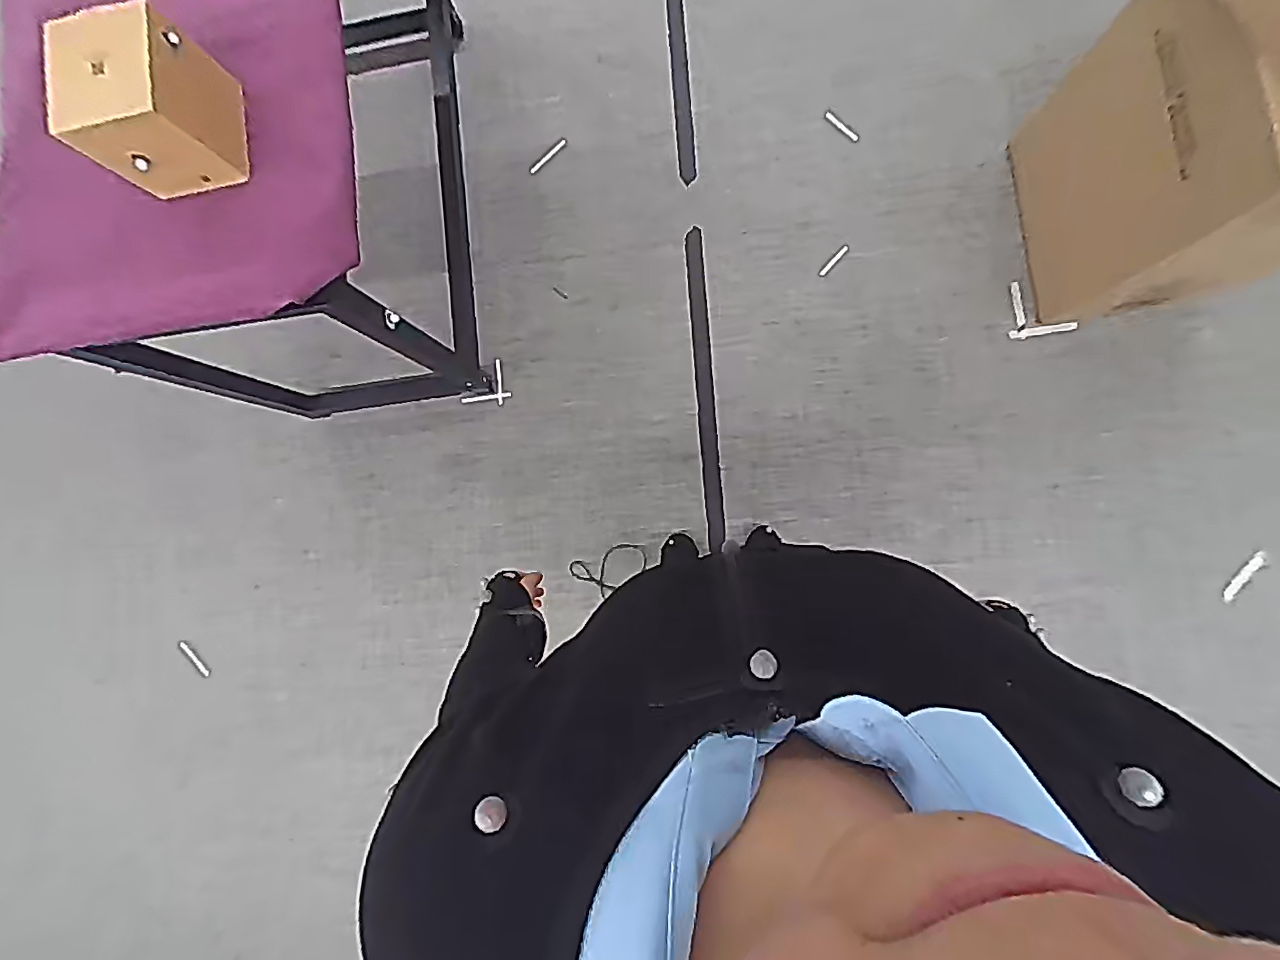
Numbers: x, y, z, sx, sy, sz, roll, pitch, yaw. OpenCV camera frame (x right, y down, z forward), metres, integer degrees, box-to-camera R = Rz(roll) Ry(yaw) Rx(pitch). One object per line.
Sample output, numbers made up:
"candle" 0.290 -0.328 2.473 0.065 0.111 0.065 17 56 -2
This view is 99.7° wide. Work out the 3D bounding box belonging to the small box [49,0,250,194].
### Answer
"small box" -0.748 -0.575 0.842 0.168 0.176 0.179 -9 85 5
